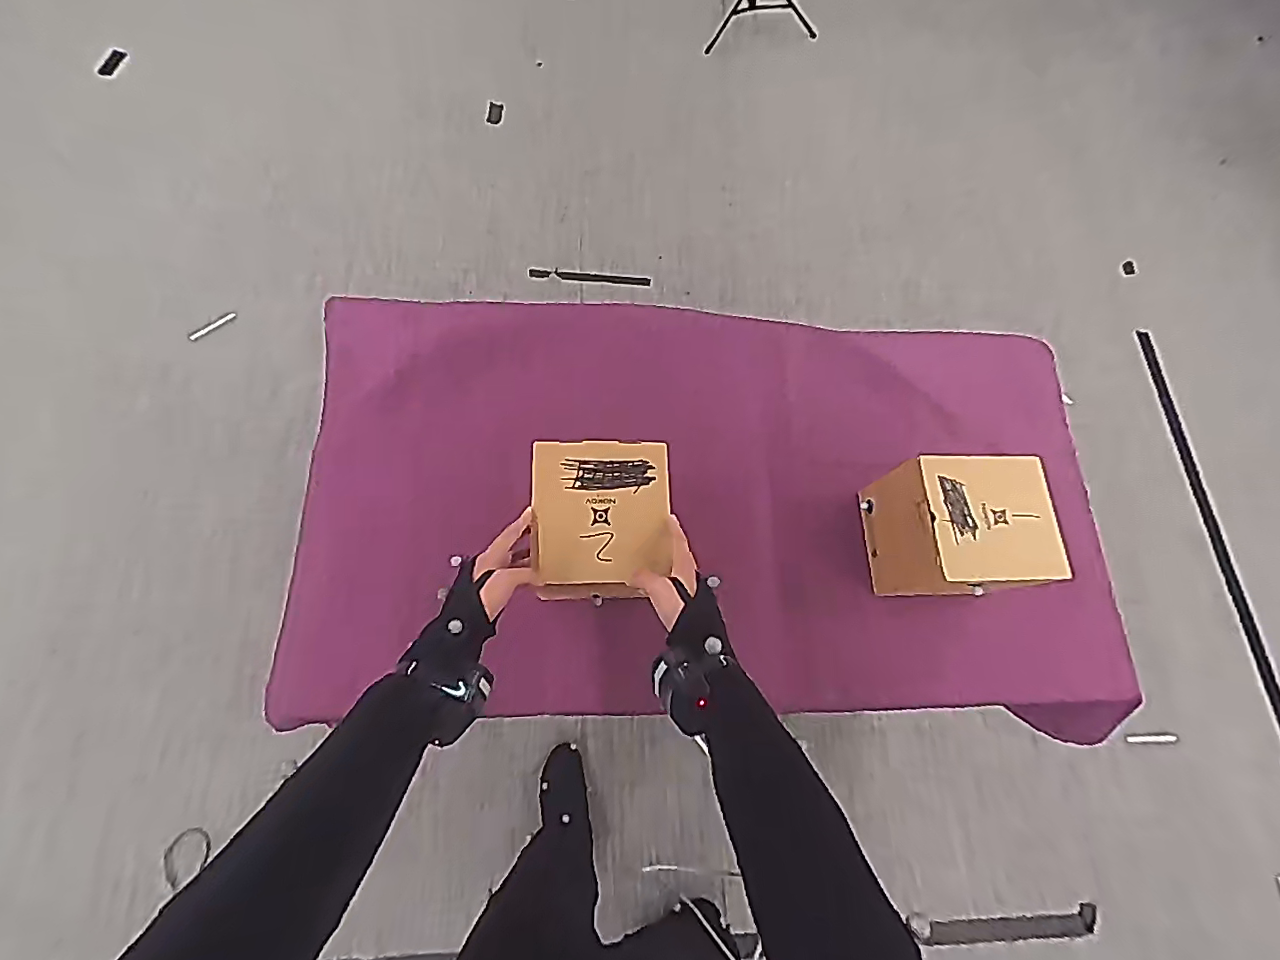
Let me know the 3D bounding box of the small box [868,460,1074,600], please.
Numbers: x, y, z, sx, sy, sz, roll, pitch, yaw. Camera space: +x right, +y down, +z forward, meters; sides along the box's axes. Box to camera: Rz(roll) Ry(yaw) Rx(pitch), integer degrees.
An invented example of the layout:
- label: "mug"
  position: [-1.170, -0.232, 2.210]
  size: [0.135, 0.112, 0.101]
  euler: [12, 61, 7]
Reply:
- label: "small box"
  position: [0.443, 0.078, 0.762]
  size: [0.179, 0.176, 0.168]
  euler: [0, 72, -6]
